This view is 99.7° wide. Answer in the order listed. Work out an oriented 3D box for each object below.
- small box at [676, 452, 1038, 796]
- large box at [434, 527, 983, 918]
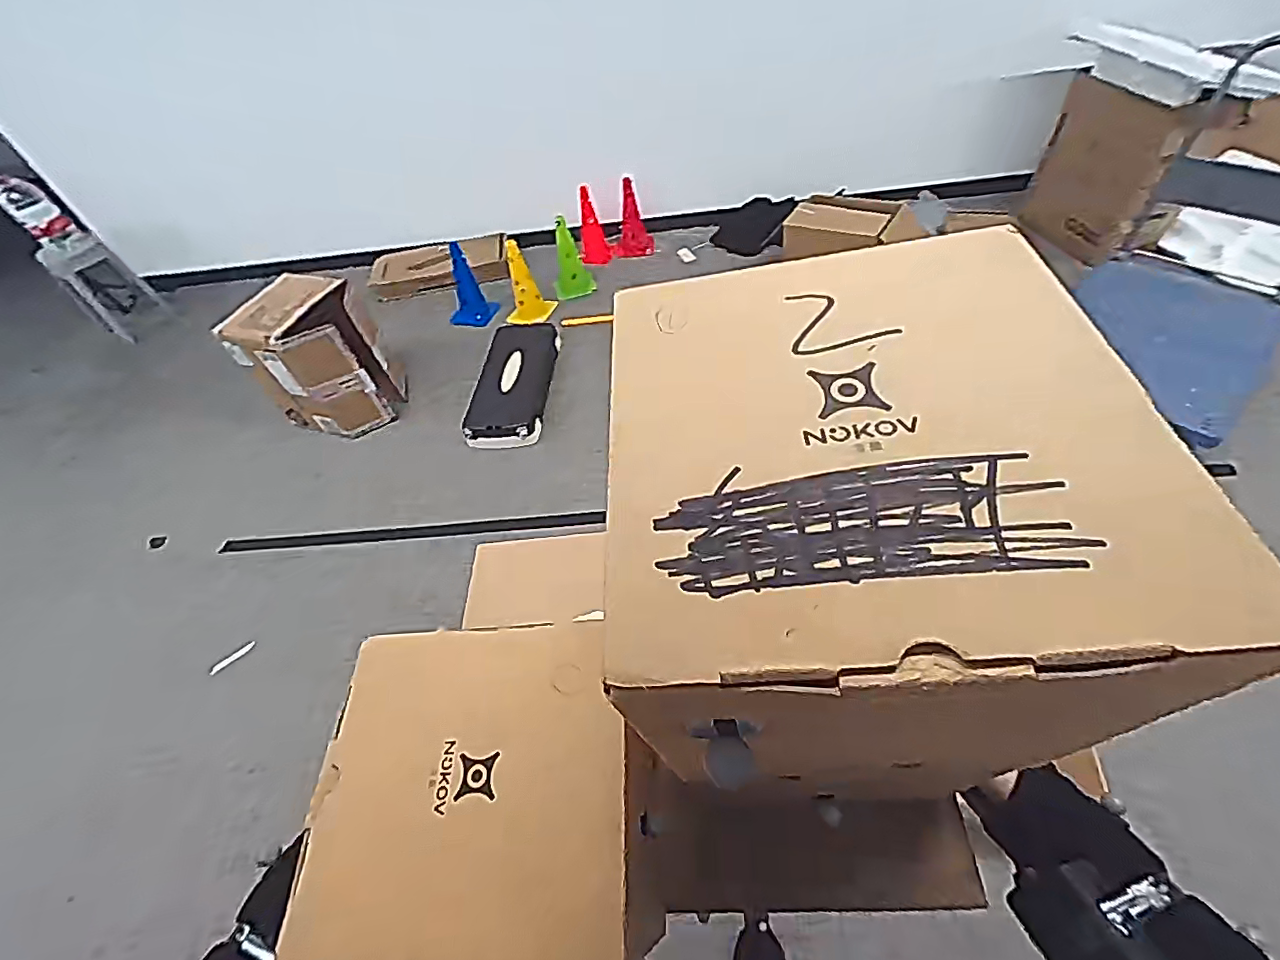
[{"bbox_3d":[0.120,0.107,0.376,0.168,0.176,0.179,-8,54,8],"label":"small box"},{"bbox_3d":[0.059,0.258,0.589,0.408,0.320,0.320,-8,53,8],"label":"large box"}]
